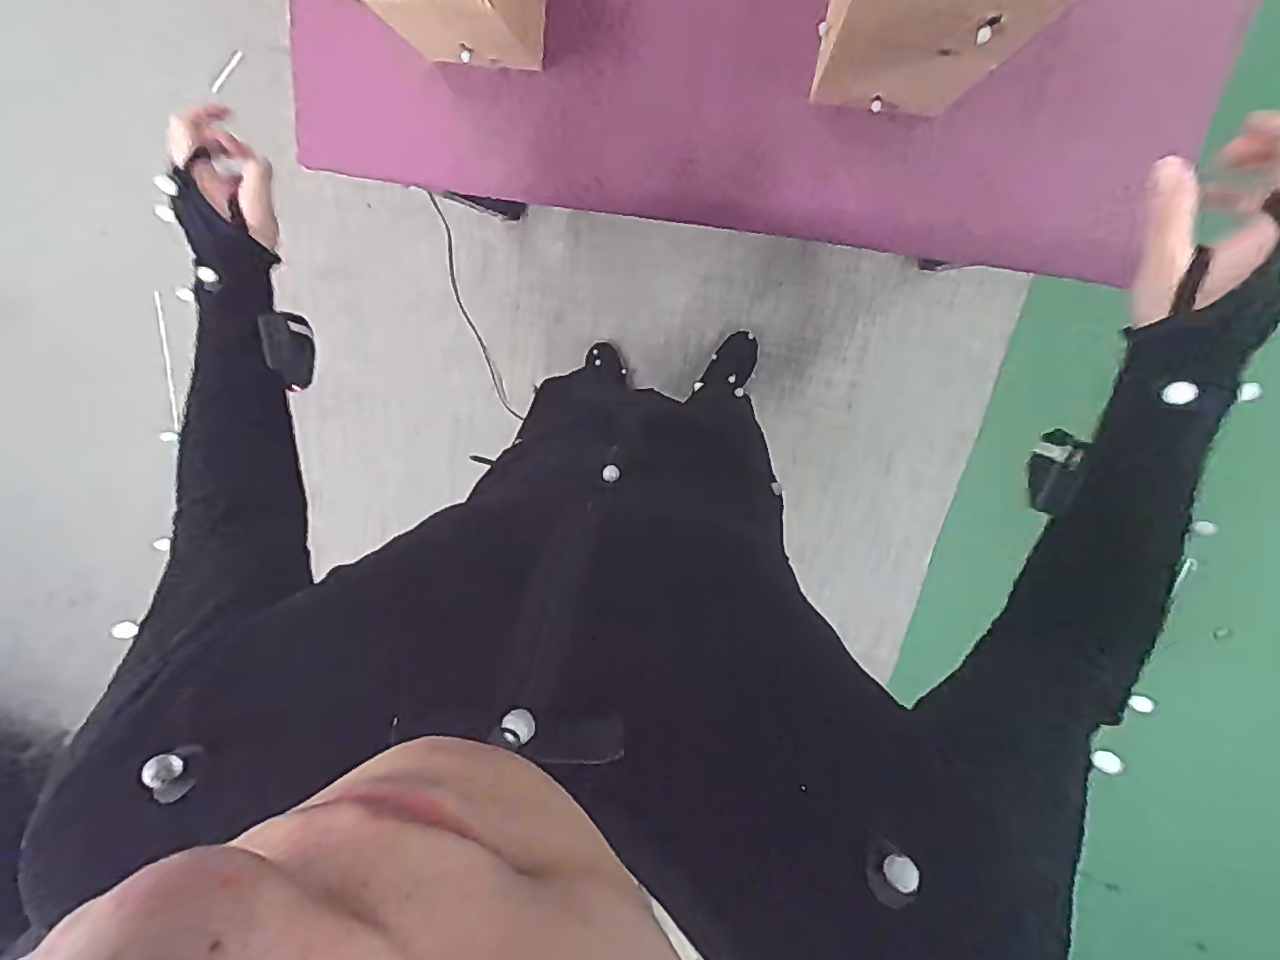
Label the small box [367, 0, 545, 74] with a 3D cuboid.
[{"bbox_3d":[-0.217,-0.633,0.650,0.168,0.176,0.179,10,109,6],"label":"small box"}]

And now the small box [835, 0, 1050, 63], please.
[{"bbox_3d":[0.271,-0.480,0.444,0.168,0.176,0.179,10,109,6],"label":"small box"}]

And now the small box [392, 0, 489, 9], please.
[{"bbox_3d":[-0.241,-0.586,0.496,0.168,0.176,0.179,9,109,6],"label":"small box"}]
